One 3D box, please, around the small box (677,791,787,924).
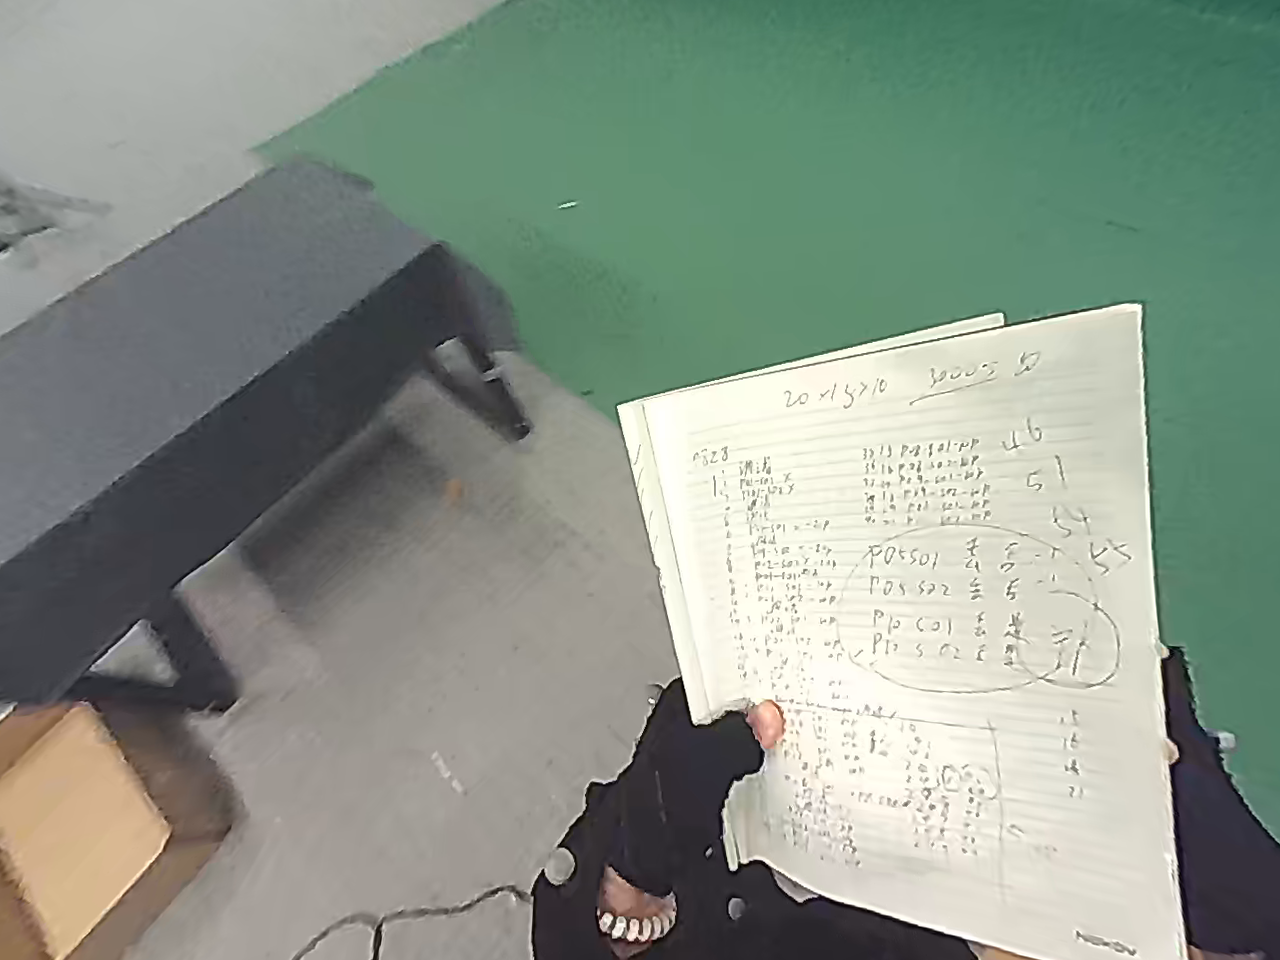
[{"bbox_3d":[0.191,0.777,1.132,0.179,0.176,0.168,8,72,31],"label":"small box"}]
